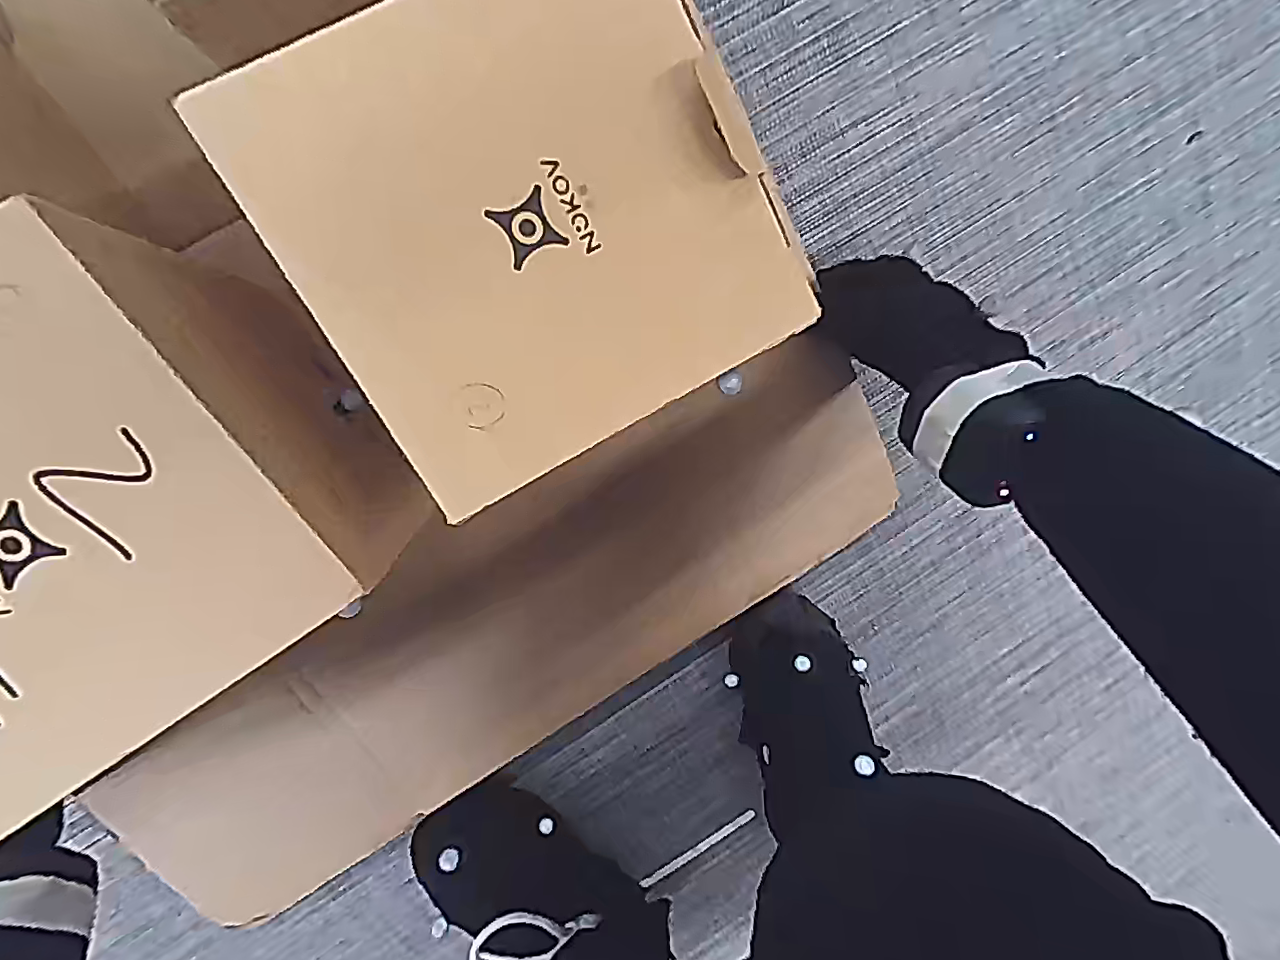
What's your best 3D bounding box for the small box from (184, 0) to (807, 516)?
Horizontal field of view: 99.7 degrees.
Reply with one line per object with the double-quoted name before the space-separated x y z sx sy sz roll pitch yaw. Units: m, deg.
"small box" -0.054 -0.106 0.278 0.179 0.176 0.168 -30 104 -5
